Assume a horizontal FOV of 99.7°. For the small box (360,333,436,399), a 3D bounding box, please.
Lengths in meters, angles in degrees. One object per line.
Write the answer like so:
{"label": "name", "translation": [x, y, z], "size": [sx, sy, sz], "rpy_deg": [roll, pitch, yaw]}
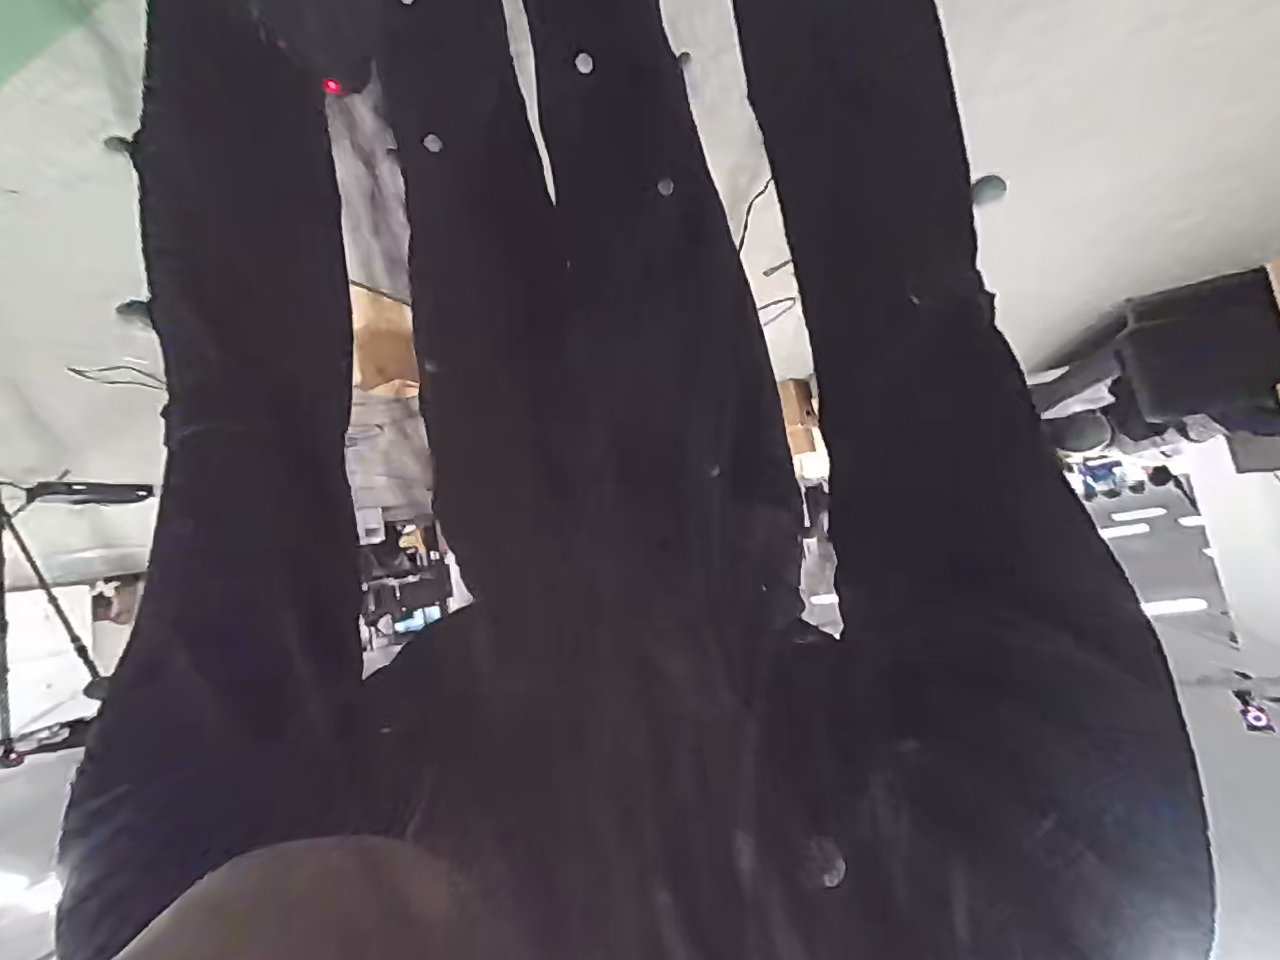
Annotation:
{"label": "small box", "translation": [-0.837, -0.391, 1.864], "size": [0.179, 0.176, 0.168], "rpy_deg": [-13, 174, 27]}
